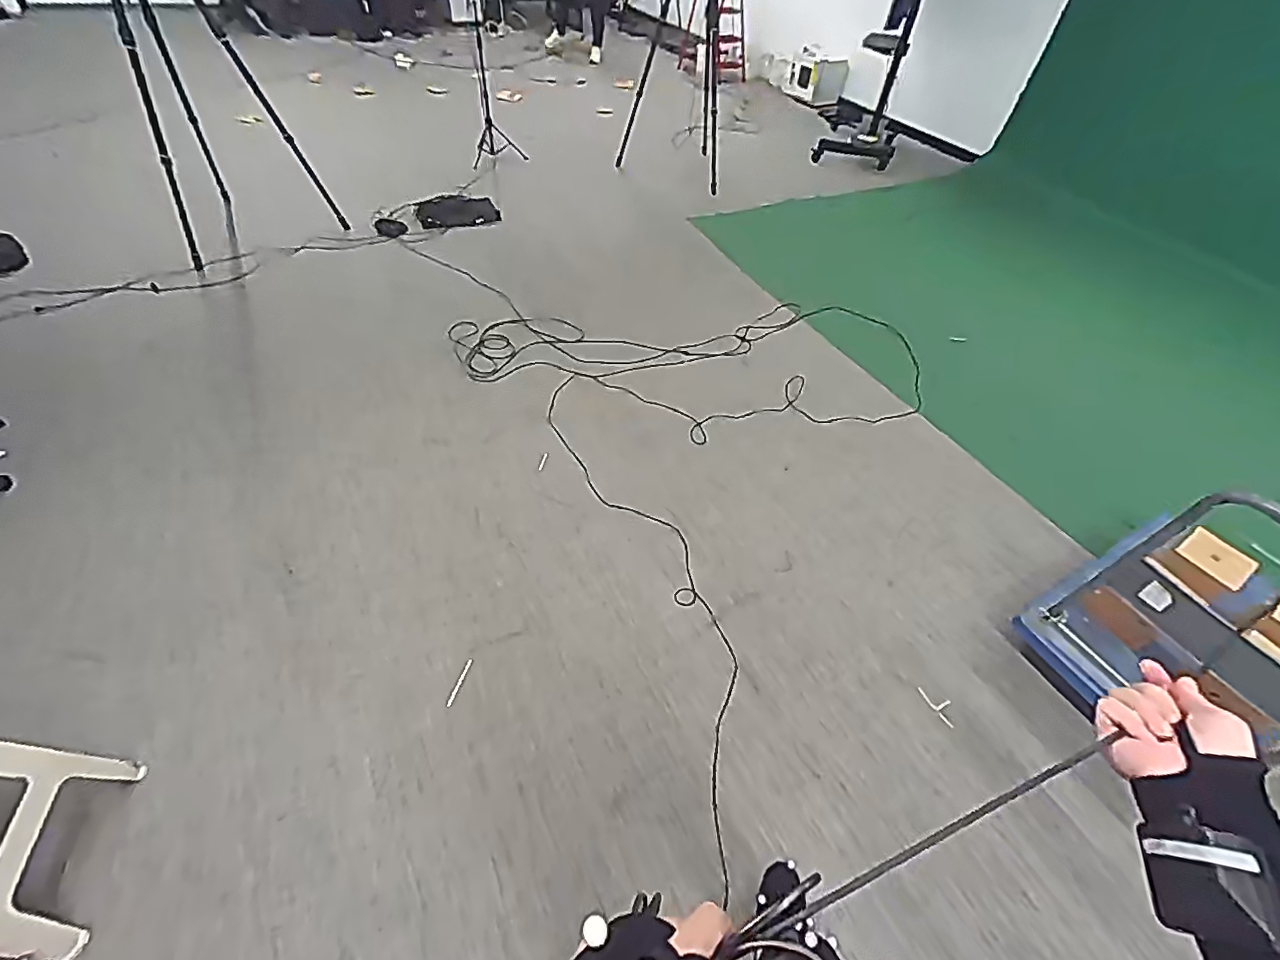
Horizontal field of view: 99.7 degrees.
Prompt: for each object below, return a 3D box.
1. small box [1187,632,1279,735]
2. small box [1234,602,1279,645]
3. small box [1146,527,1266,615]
[{"bbox_3d":[1.622,0.538,1.425,0.179,0.176,0.168,-21,54,-20],"label":"small box"},{"bbox_3d":[1.857,0.445,1.521,0.179,0.176,0.168,-25,54,-22],"label":"small box"},{"bbox_3d":[1.717,0.283,1.653,0.179,0.176,0.168,-25,56,-23],"label":"small box"}]
